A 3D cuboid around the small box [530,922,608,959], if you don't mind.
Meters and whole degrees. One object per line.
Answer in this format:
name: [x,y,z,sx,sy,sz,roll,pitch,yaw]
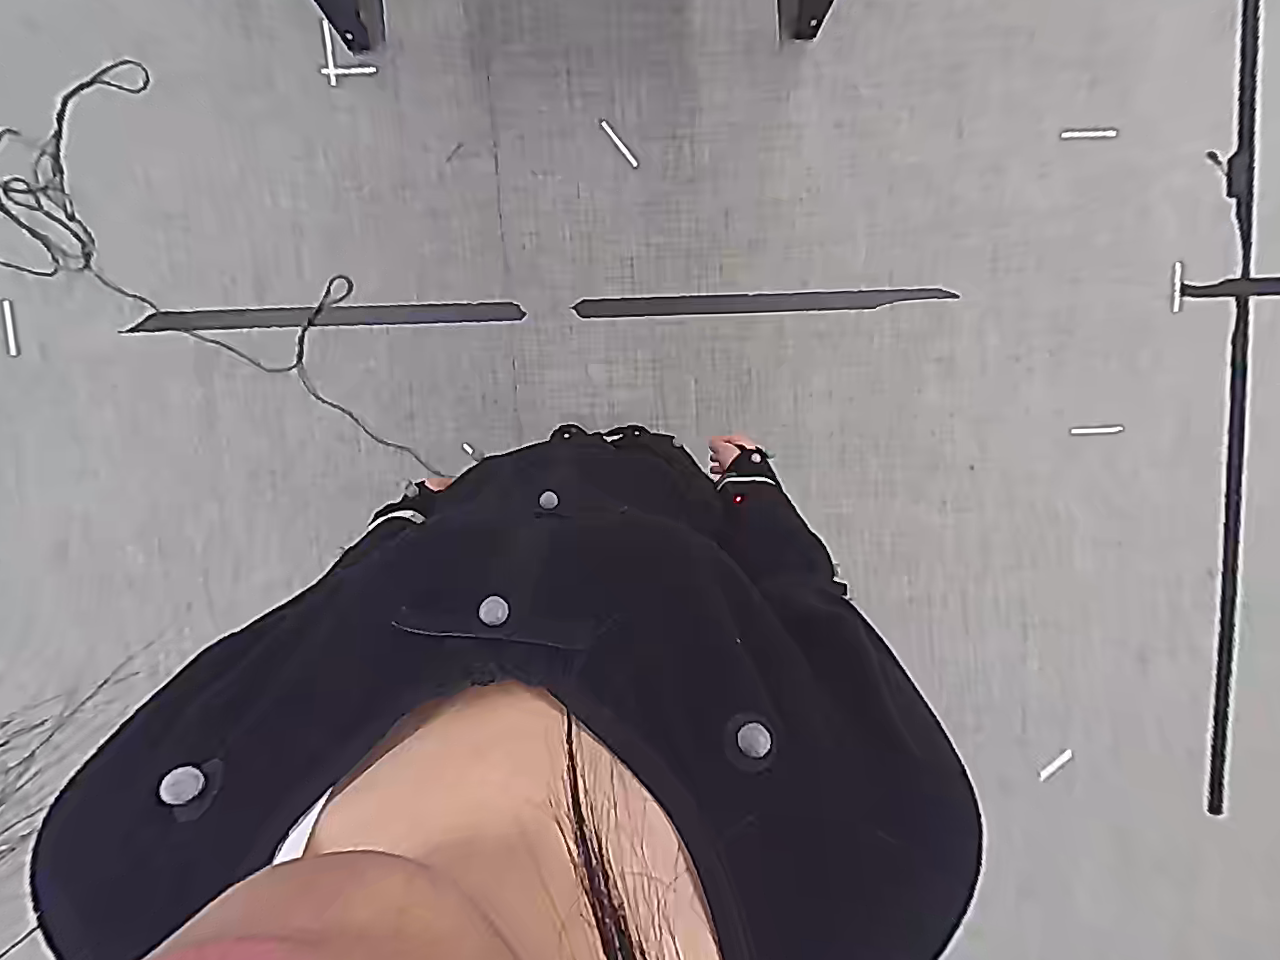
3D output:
small box: [-0.158,1.142,1.214,0.179,0.176,0.168,-4,94,-1]
